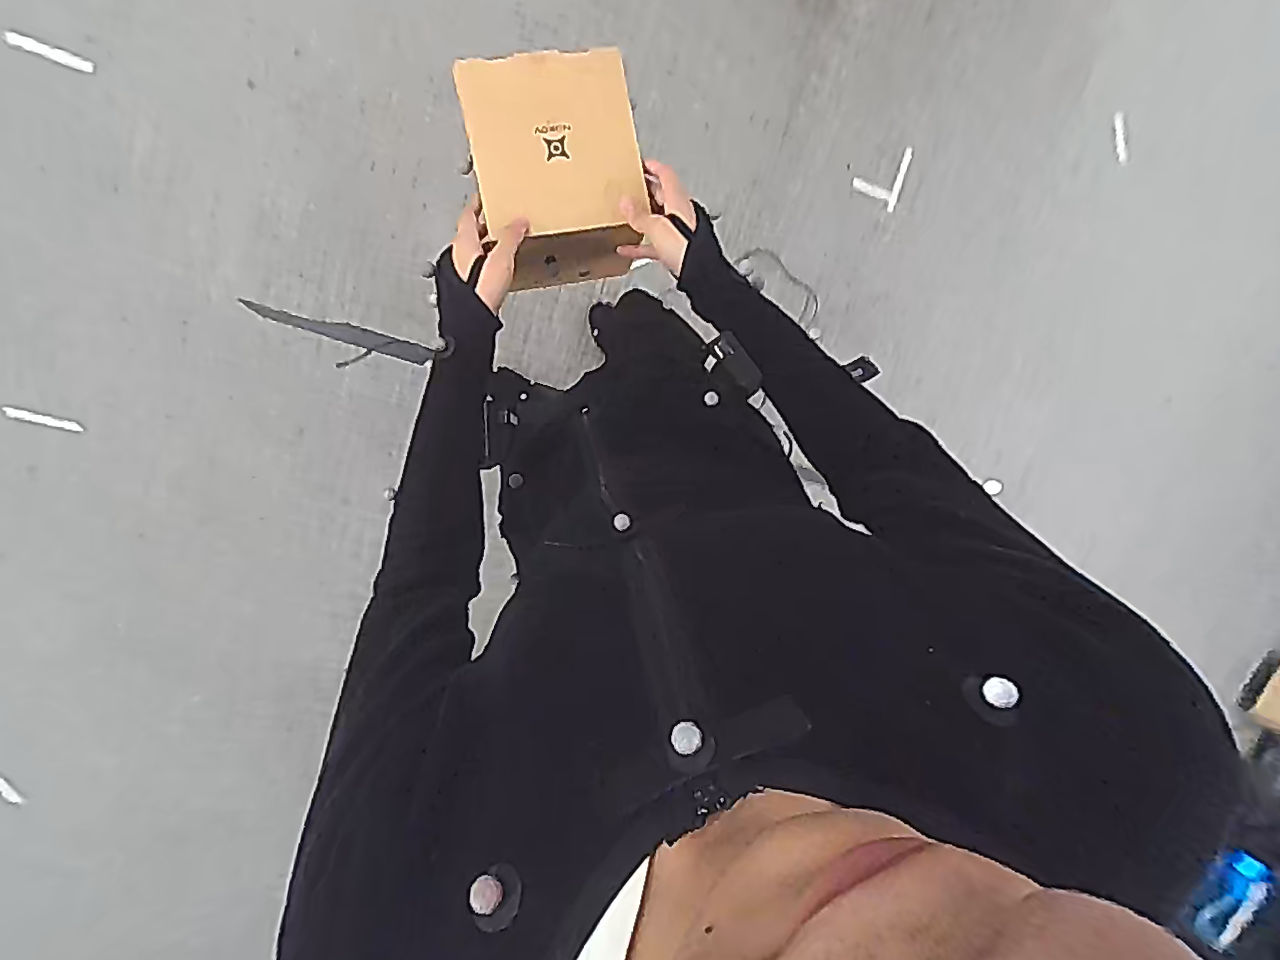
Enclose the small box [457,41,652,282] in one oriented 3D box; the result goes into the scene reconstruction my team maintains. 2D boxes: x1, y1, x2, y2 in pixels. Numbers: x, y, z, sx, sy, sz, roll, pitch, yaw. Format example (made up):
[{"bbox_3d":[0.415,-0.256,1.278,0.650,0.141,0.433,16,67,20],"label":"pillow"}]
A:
[{"bbox_3d":[-0.092,-0.336,0.605,0.168,0.176,0.179,-11,93,-9],"label":"small box"}]
